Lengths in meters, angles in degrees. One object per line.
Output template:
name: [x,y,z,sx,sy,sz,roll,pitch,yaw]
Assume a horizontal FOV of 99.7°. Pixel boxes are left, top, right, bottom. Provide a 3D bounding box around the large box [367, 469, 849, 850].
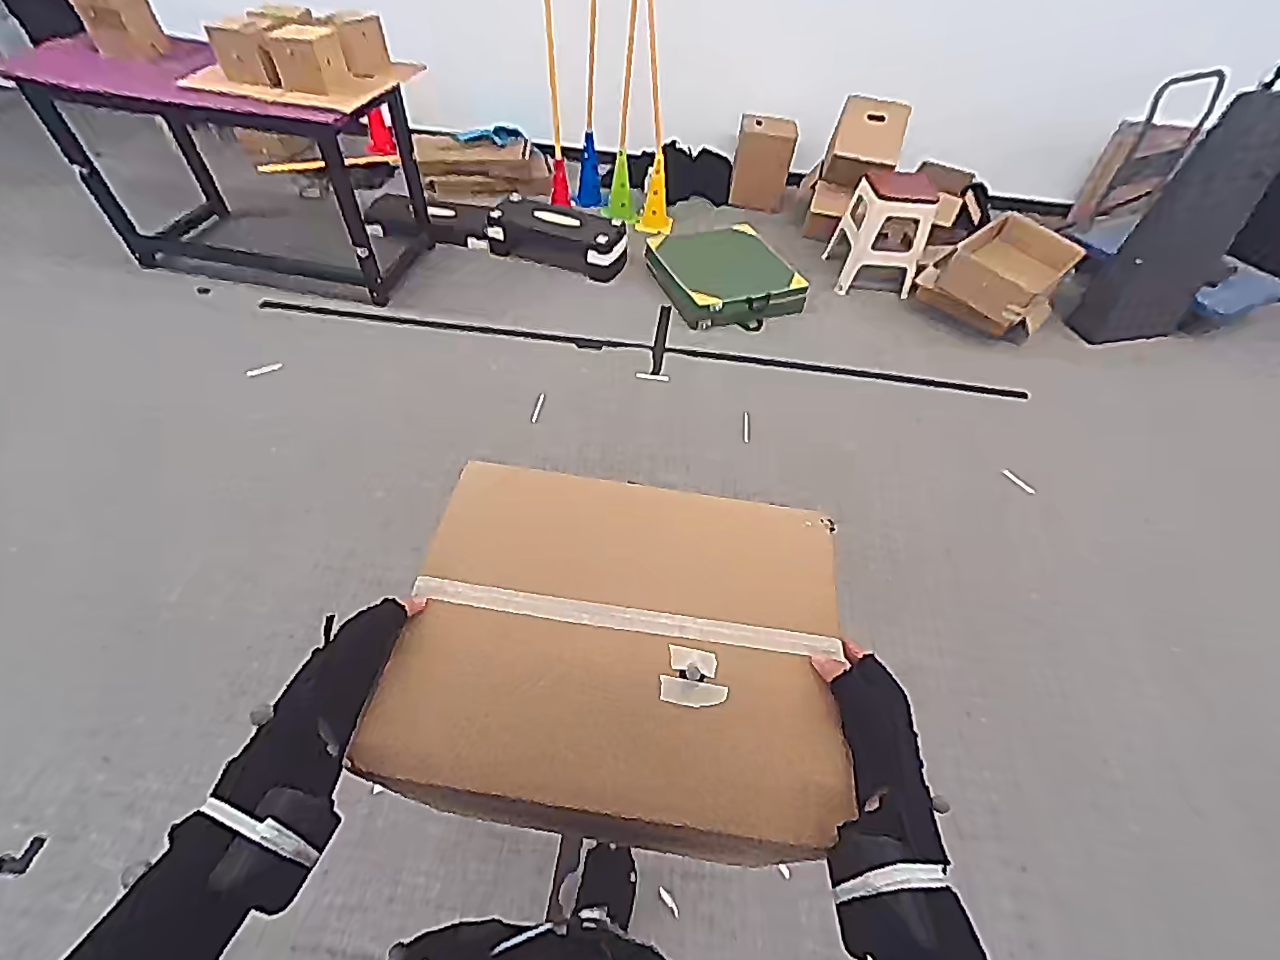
large box: [-0.021,0.222,0.642,0.408,0.320,0.320,9,54,2]
